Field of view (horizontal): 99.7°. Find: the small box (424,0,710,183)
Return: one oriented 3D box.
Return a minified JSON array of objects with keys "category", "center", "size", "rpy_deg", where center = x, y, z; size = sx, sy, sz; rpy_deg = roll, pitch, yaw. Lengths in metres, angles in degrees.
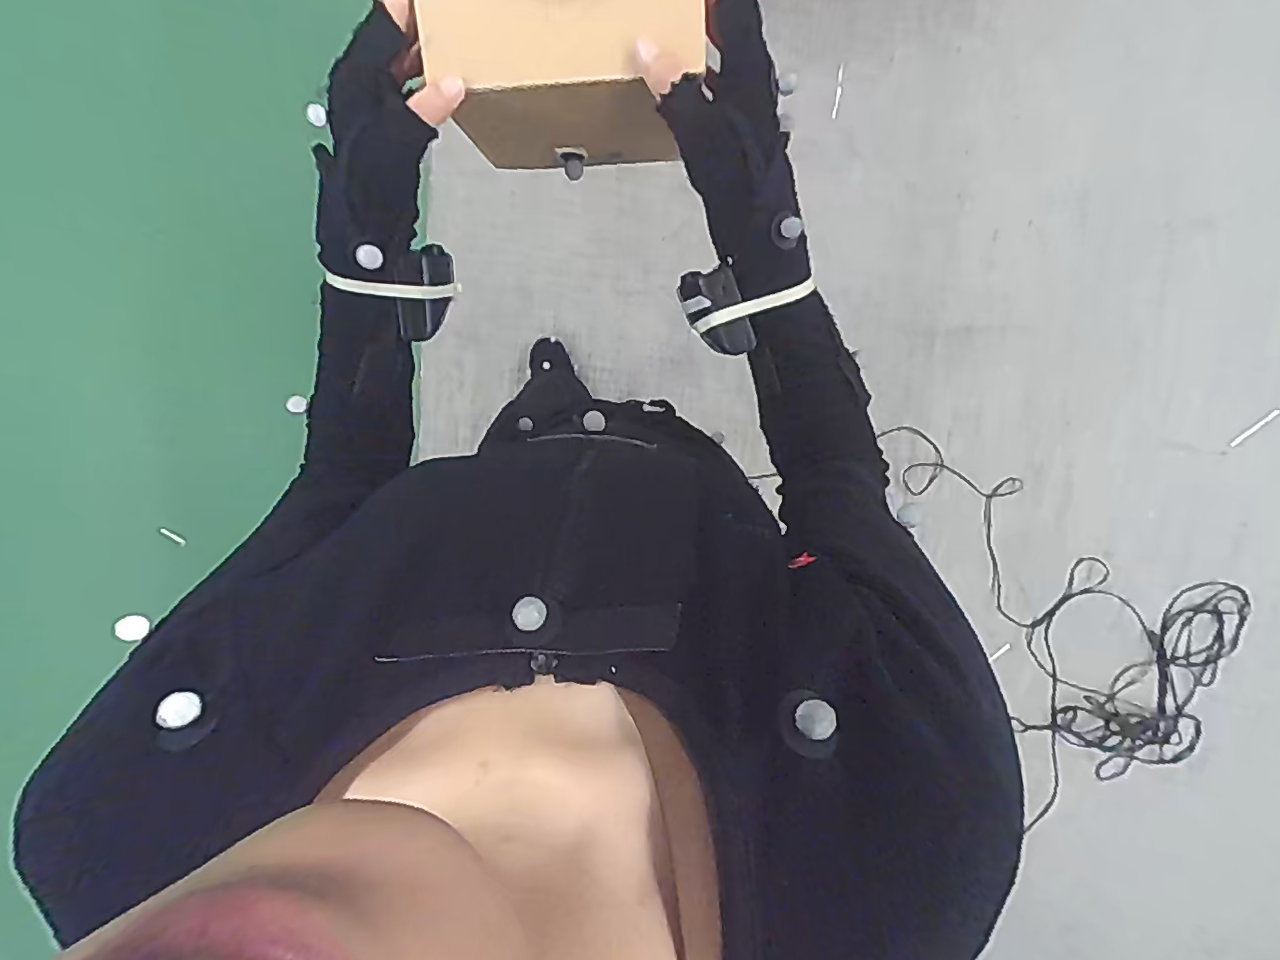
[{"category":"small box","center":[-0.044,-0.330,0.378],"size":[0.168,0.176,0.179],"rpy_deg":[-3,105,1]}]

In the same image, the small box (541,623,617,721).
[{"category":"small box","center":[-0.159,0.515,1.470],"size":[0.168,0.176,0.179],"rpy_deg":[12,98,-1]}]

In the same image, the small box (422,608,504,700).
[{"category":"small box","center":[-0.474,0.464,1.467],"size":[0.168,0.176,0.179],"rpy_deg":[7,99,0]}]
